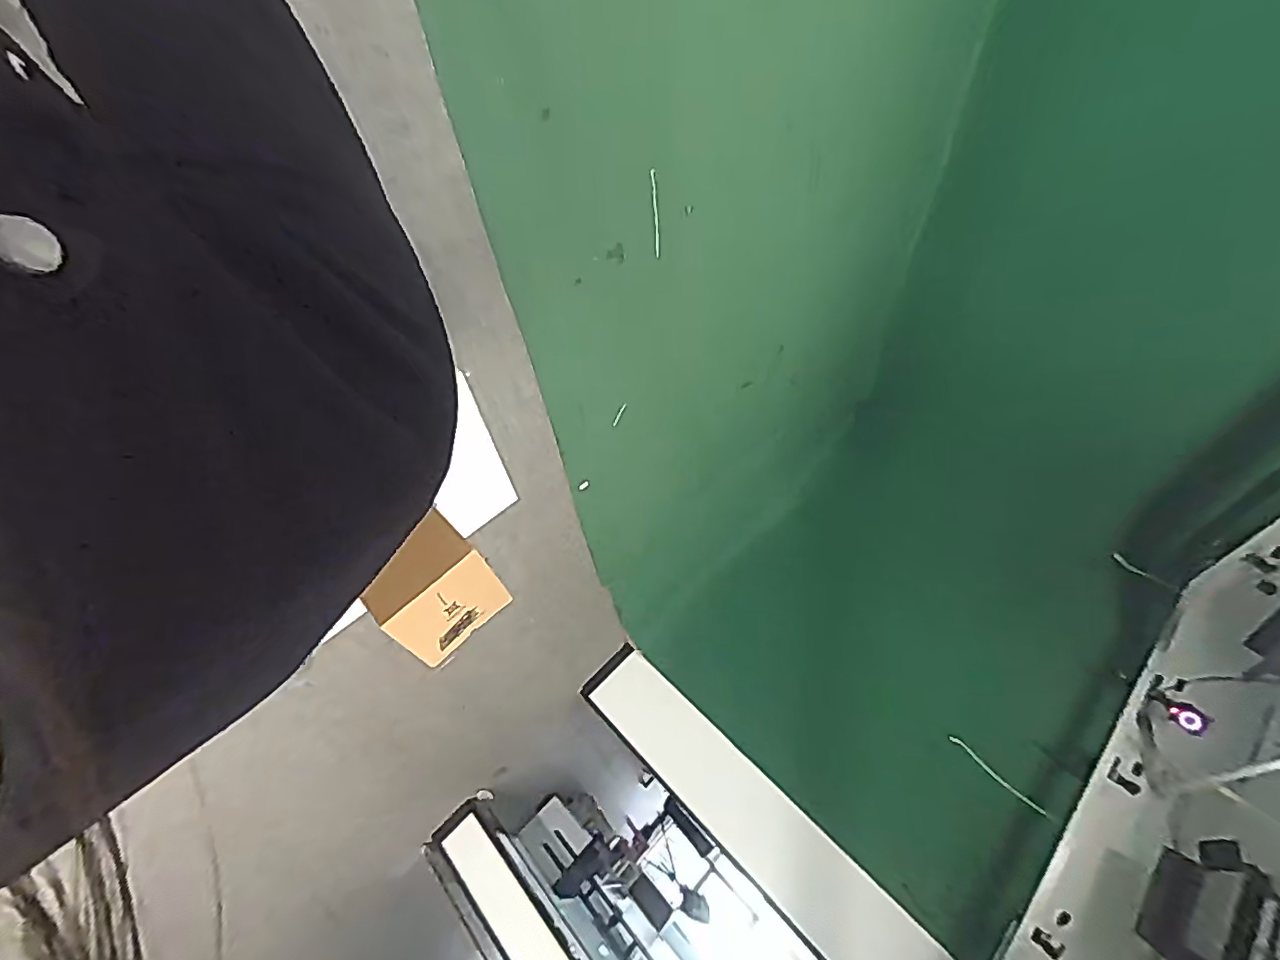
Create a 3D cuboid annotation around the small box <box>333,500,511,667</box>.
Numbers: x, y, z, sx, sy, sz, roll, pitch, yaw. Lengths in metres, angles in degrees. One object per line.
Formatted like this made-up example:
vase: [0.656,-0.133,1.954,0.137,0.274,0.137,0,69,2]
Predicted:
small box: [-0.344,0.163,0.868,0.168,0.176,0.179,-43,150,-17]
